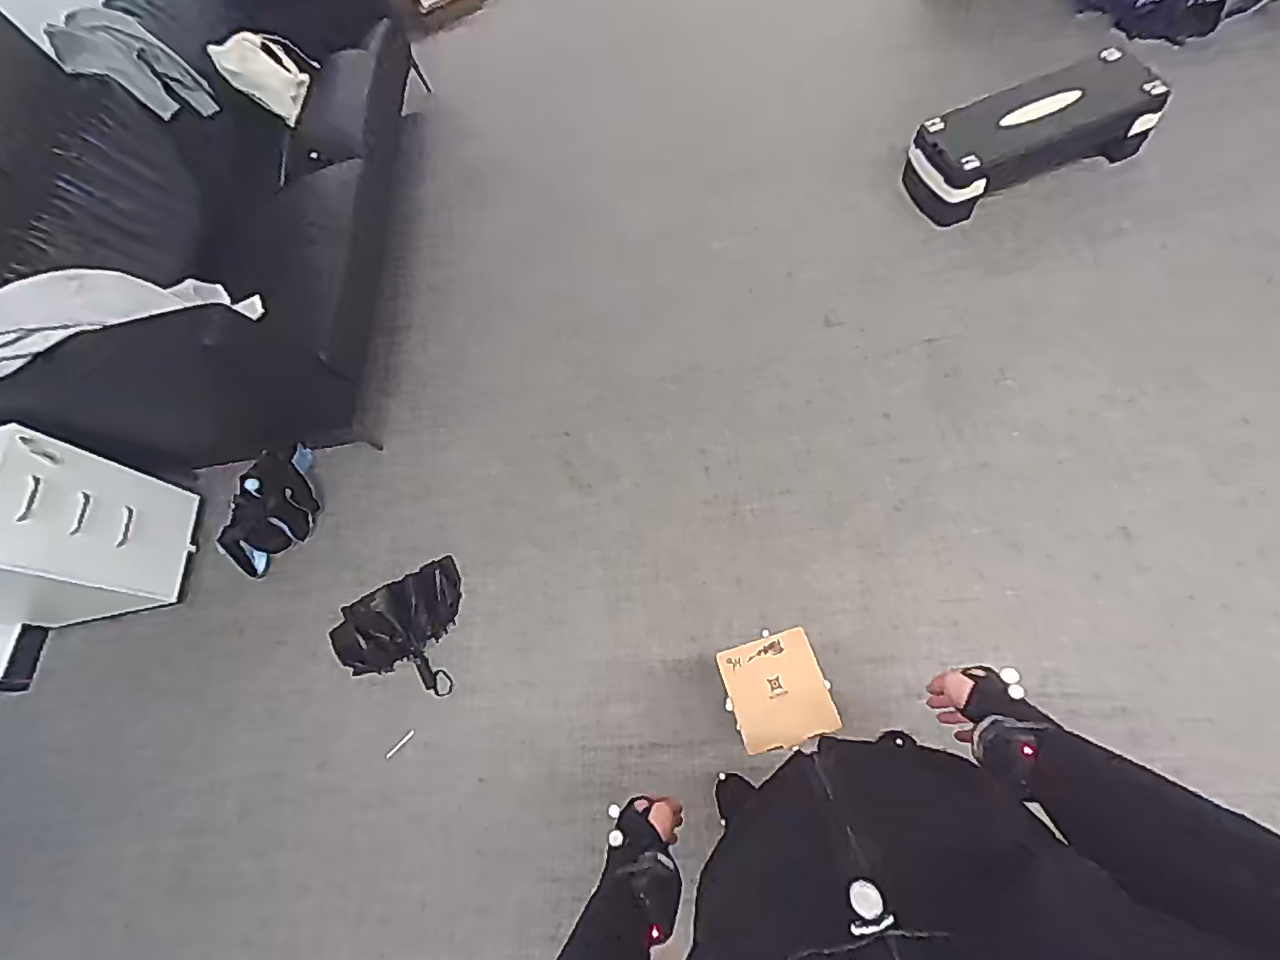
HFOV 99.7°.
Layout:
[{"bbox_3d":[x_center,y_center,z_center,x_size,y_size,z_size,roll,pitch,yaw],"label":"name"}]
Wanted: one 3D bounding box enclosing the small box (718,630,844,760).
[{"bbox_3d":[0.255,0.393,0.997,0.168,0.176,0.179,-20,65,5],"label":"small box"}]
